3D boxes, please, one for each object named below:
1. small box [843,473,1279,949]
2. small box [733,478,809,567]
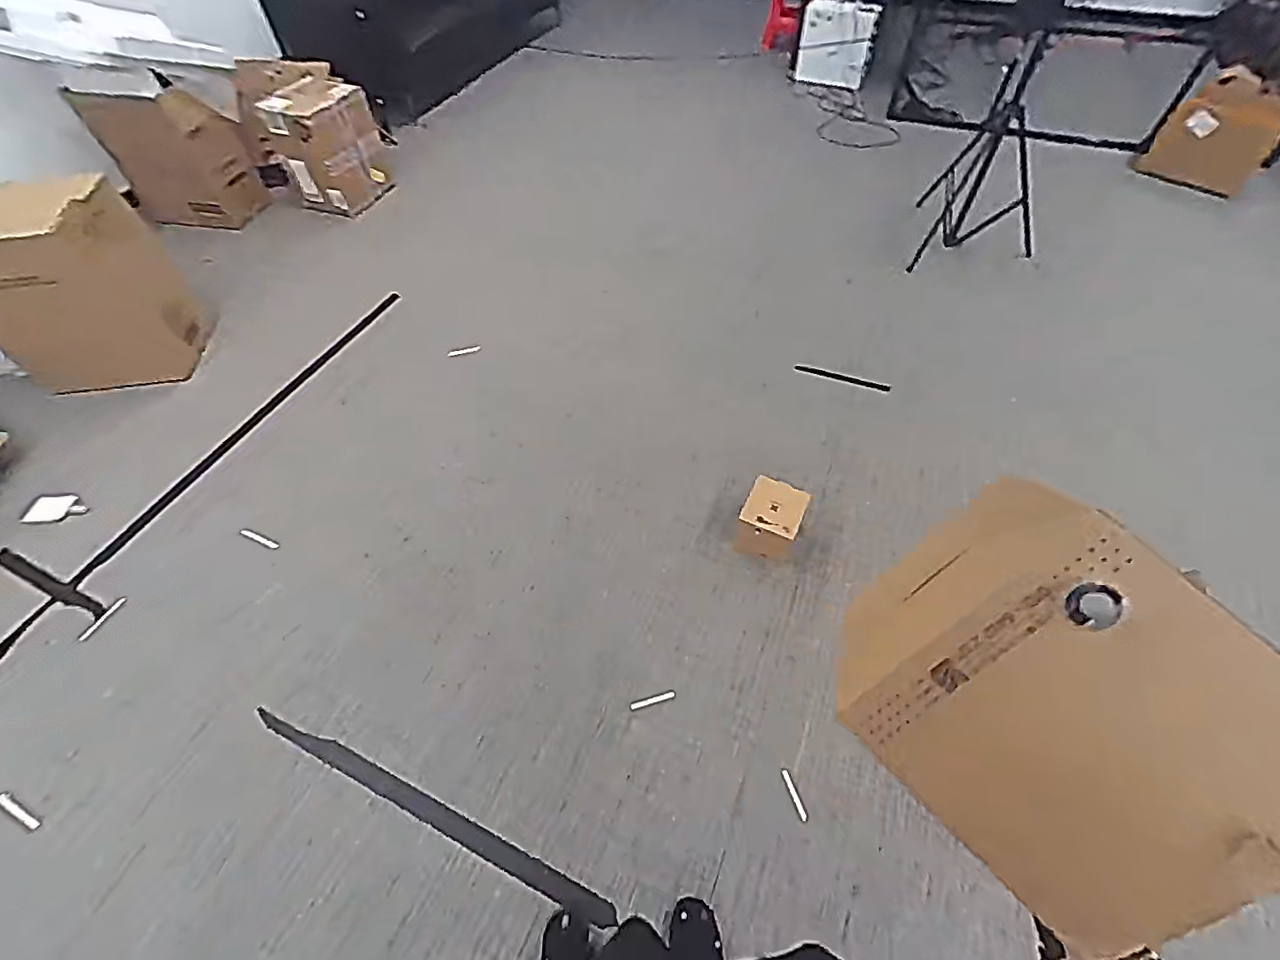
[{"bbox_3d":[0.248,0.113,0.337,0.176,0.168,0.179,46,21,12],"label":"small box"},{"bbox_3d":[0.390,0.132,1.641,0.168,0.176,0.179,22,57,17],"label":"small box"}]
